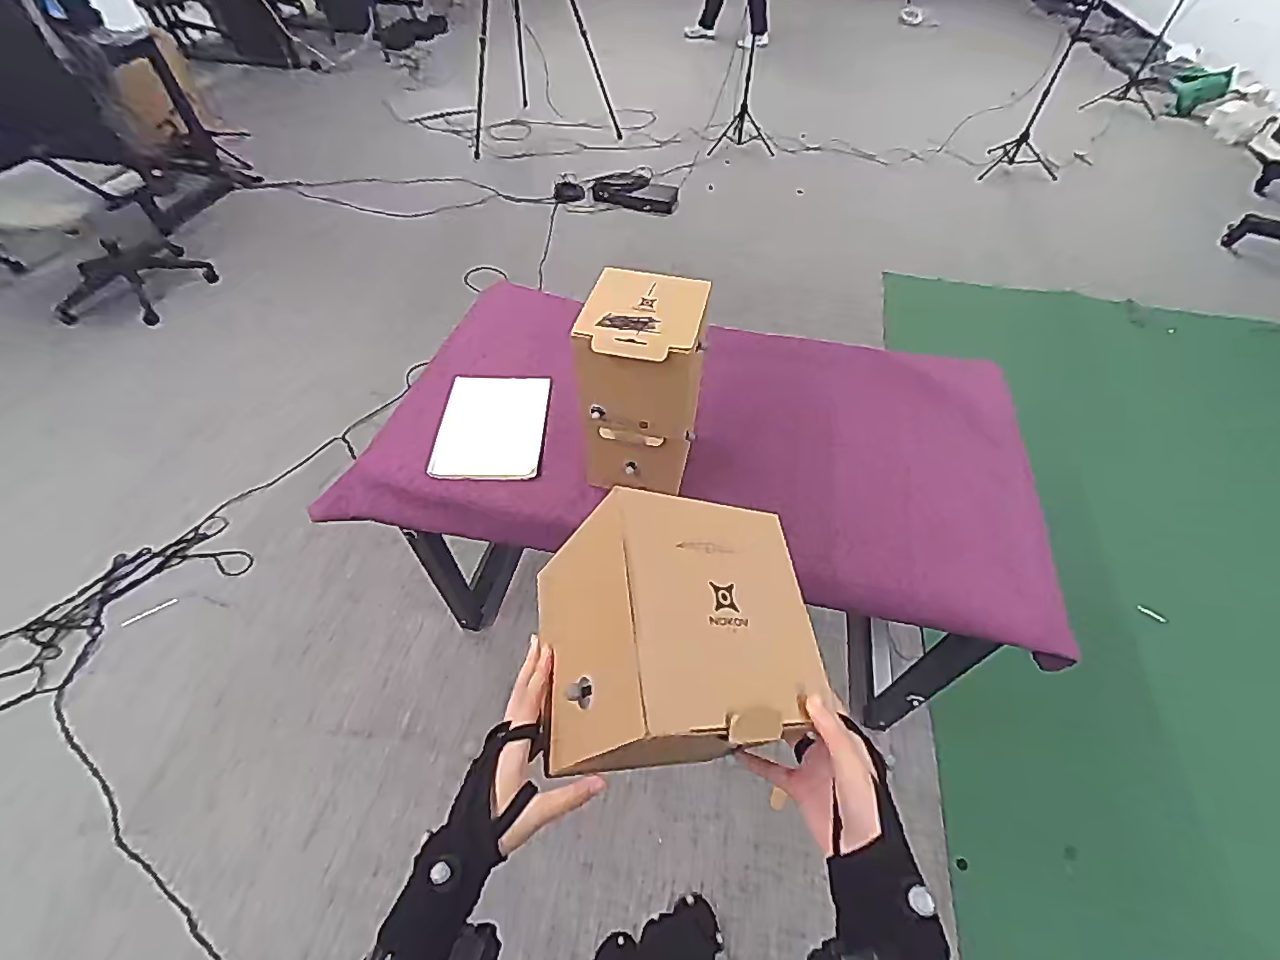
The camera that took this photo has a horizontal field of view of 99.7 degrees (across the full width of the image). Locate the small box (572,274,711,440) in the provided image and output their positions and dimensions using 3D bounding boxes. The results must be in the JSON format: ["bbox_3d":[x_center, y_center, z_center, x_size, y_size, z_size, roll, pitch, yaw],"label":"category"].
[{"bbox_3d":[0.007,-0.185,0.825,0.168,0.176,0.179,11,51,8],"label":"small box"}]

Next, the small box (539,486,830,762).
[{"bbox_3d":[0.021,0.133,0.459,0.168,0.176,0.179,12,52,-28],"label":"small box"}]

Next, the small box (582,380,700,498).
[{"bbox_3d":[0.006,-0.085,0.957,0.168,0.176,0.179,11,53,8],"label":"small box"}]
